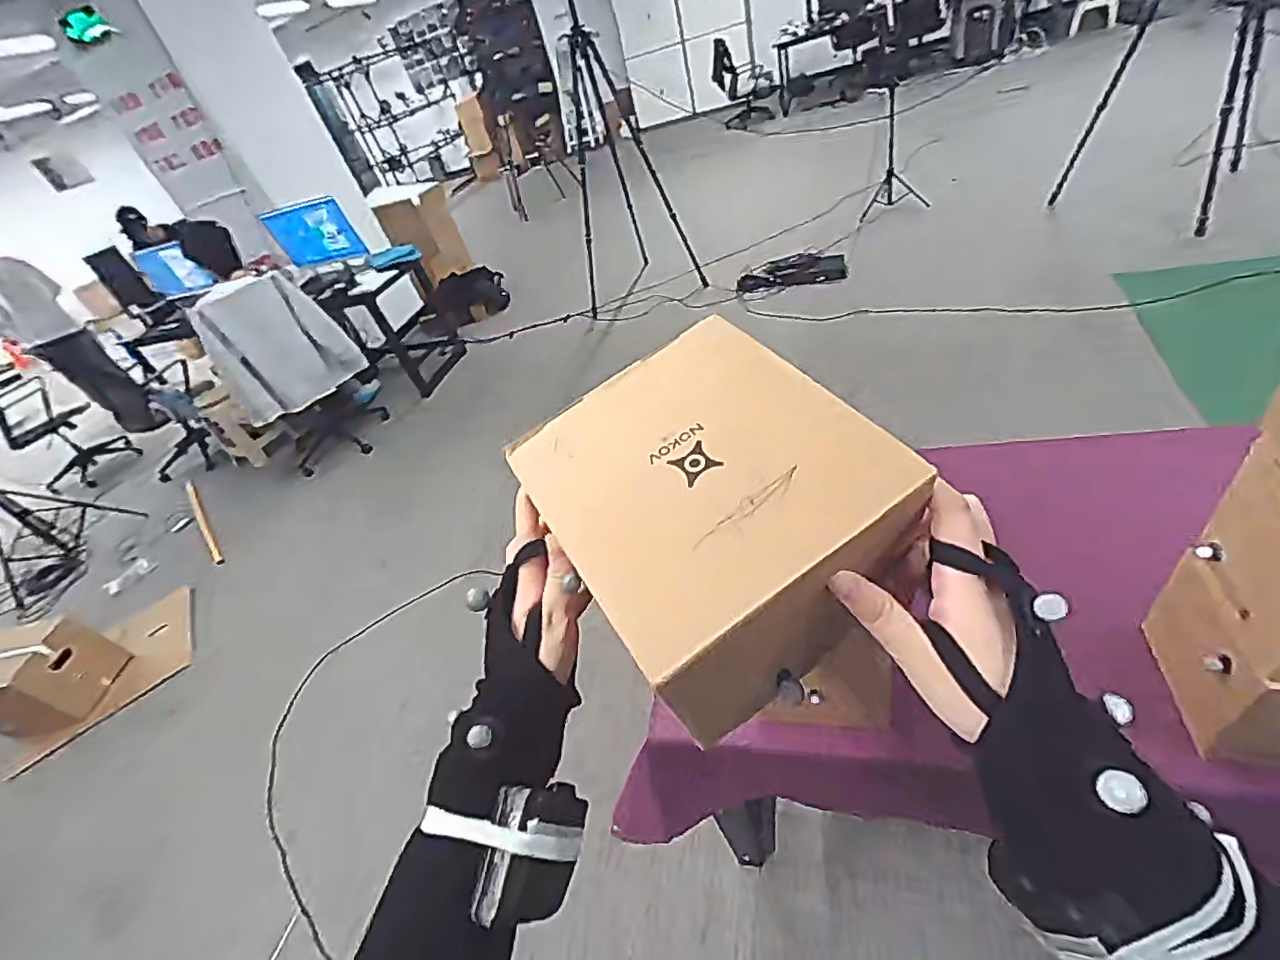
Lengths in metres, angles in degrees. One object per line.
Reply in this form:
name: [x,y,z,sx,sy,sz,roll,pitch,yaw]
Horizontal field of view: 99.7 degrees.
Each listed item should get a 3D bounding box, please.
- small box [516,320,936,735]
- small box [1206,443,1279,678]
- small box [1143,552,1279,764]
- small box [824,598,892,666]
small box: [0.049,0.035,0.357,0.168,0.176,0.179,-33,53,-8]
small box: [0.670,0.078,0.485,0.179,0.176,0.168,0,44,21]
small box: [0.705,0.200,0.590,0.168,0.176,0.179,-1,43,21]
small box: [0.203,0.100,0.654,0.168,0.176,0.179,-4,43,19]
